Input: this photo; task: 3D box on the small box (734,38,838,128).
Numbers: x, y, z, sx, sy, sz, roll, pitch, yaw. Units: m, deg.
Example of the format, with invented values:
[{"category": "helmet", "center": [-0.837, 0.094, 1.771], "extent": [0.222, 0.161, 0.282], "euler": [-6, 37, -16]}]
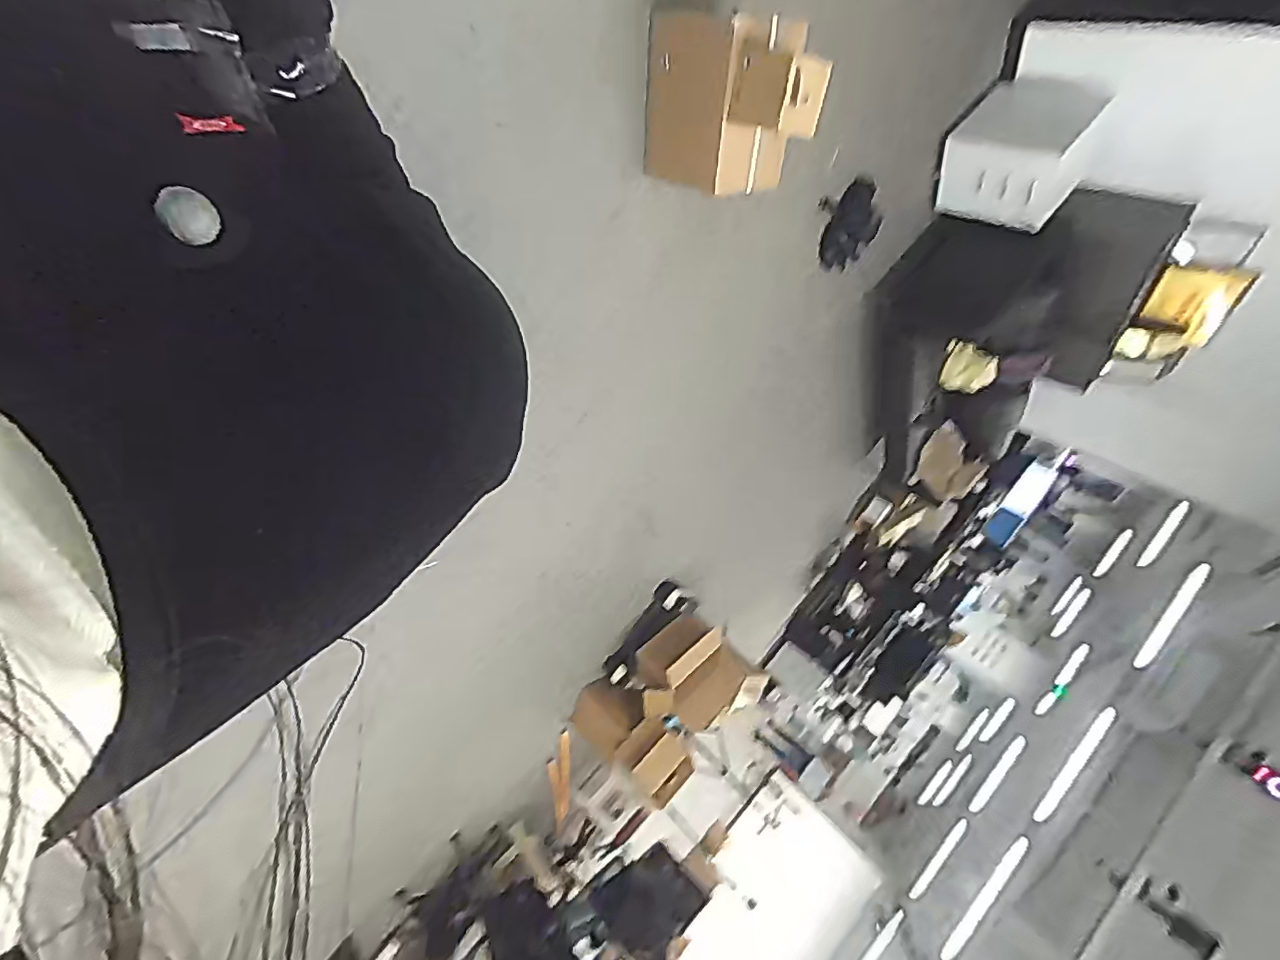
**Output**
[{"category": "small box", "center": [0.369, -1.020, 1.394], "extent": [0.179, 0.176, 0.168], "euler": [-22, 135, -37]}]
